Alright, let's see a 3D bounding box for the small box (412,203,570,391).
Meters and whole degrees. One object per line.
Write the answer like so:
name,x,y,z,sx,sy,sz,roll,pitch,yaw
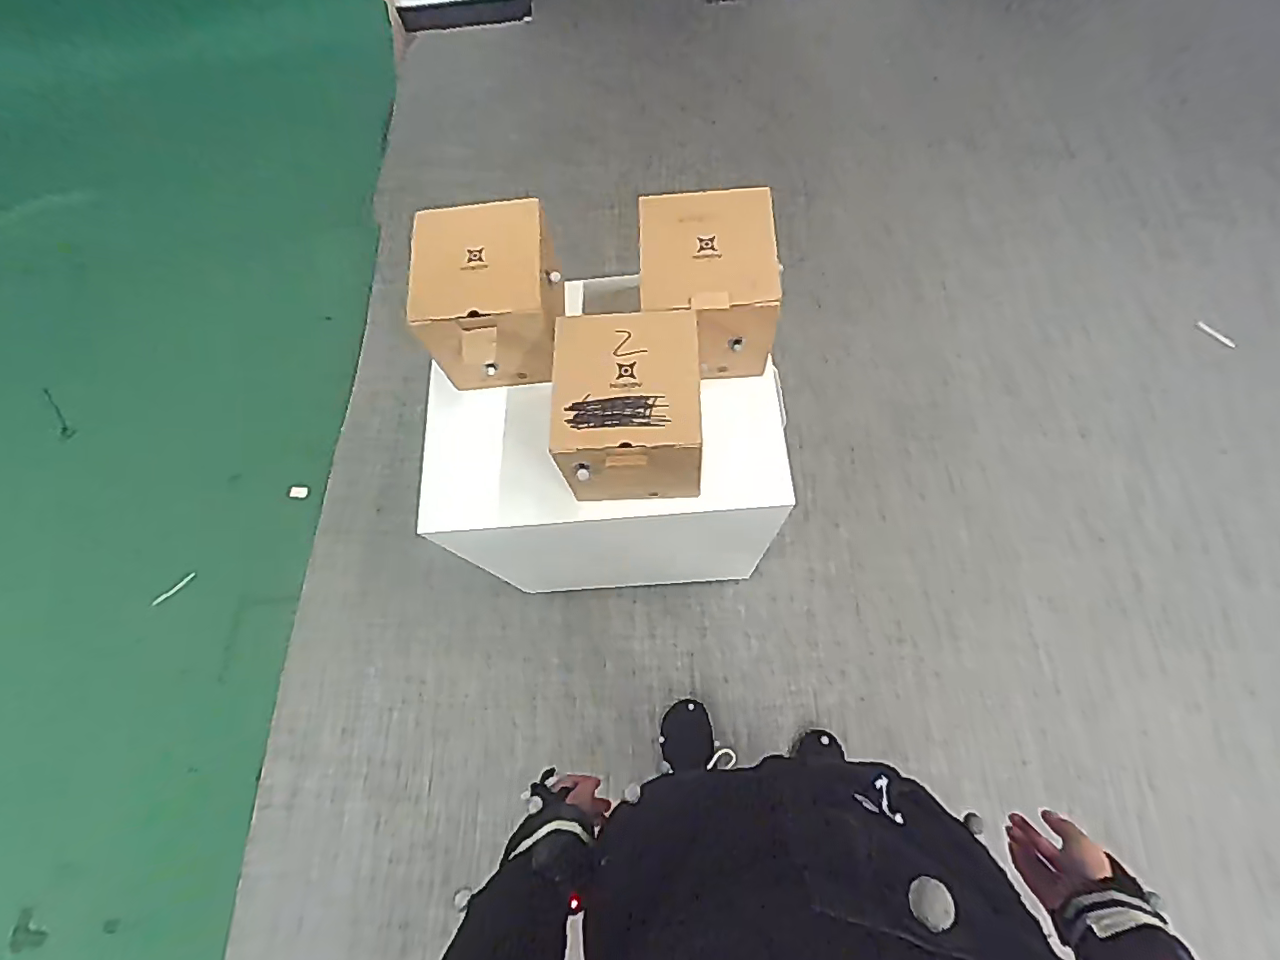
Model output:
small box,-0.193,-0.245,0.749,0.168,0.176,0.179,-5,71,3
